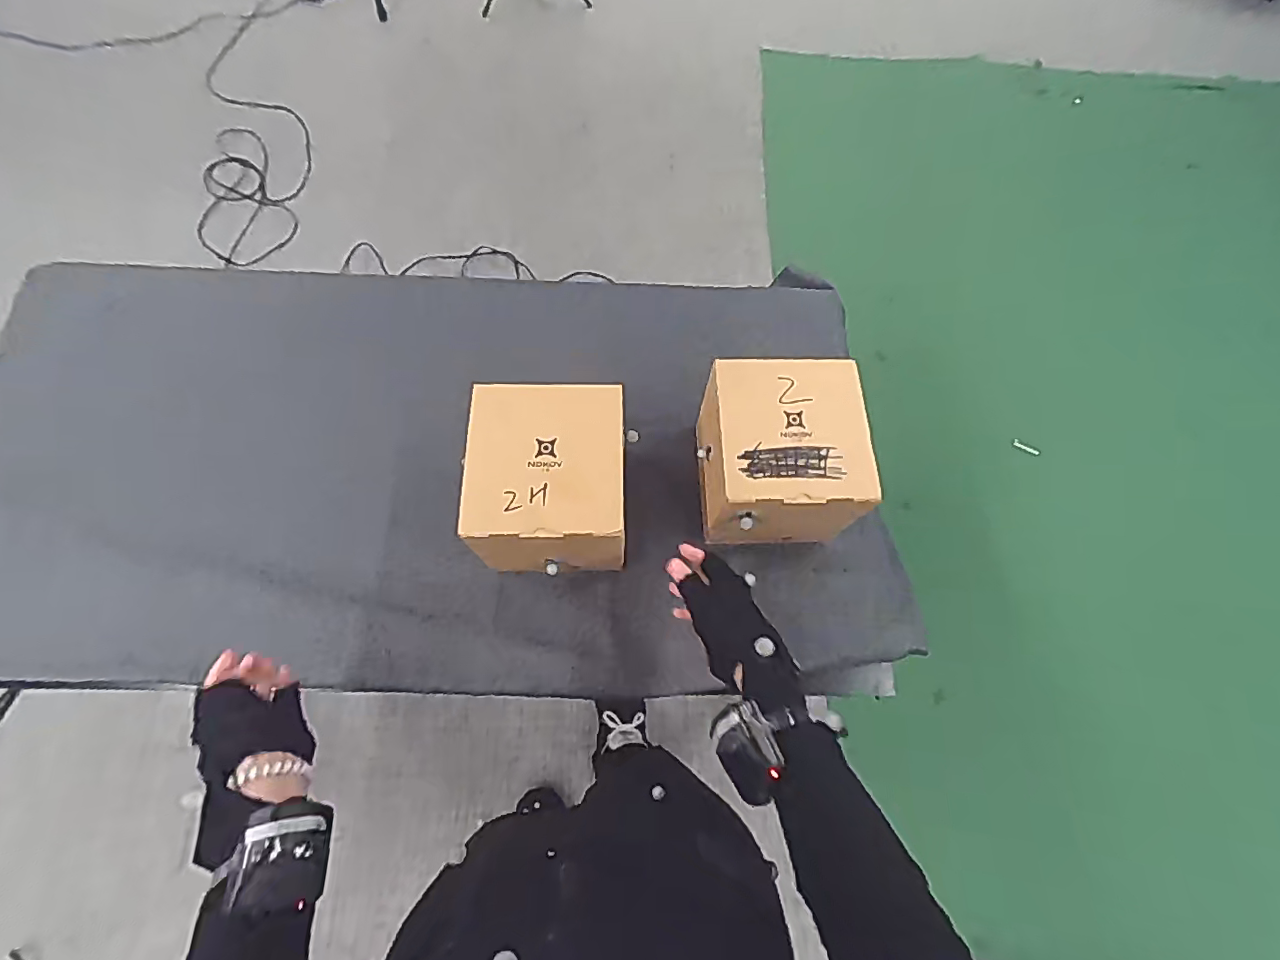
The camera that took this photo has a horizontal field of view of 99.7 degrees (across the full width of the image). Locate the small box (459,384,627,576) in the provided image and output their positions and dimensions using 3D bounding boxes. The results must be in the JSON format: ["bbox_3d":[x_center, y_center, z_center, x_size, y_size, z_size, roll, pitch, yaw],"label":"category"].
[{"bbox_3d":[-0.100,0.006,0.638,0.168,0.176,0.179,0,67,-2],"label":"small box"}]
